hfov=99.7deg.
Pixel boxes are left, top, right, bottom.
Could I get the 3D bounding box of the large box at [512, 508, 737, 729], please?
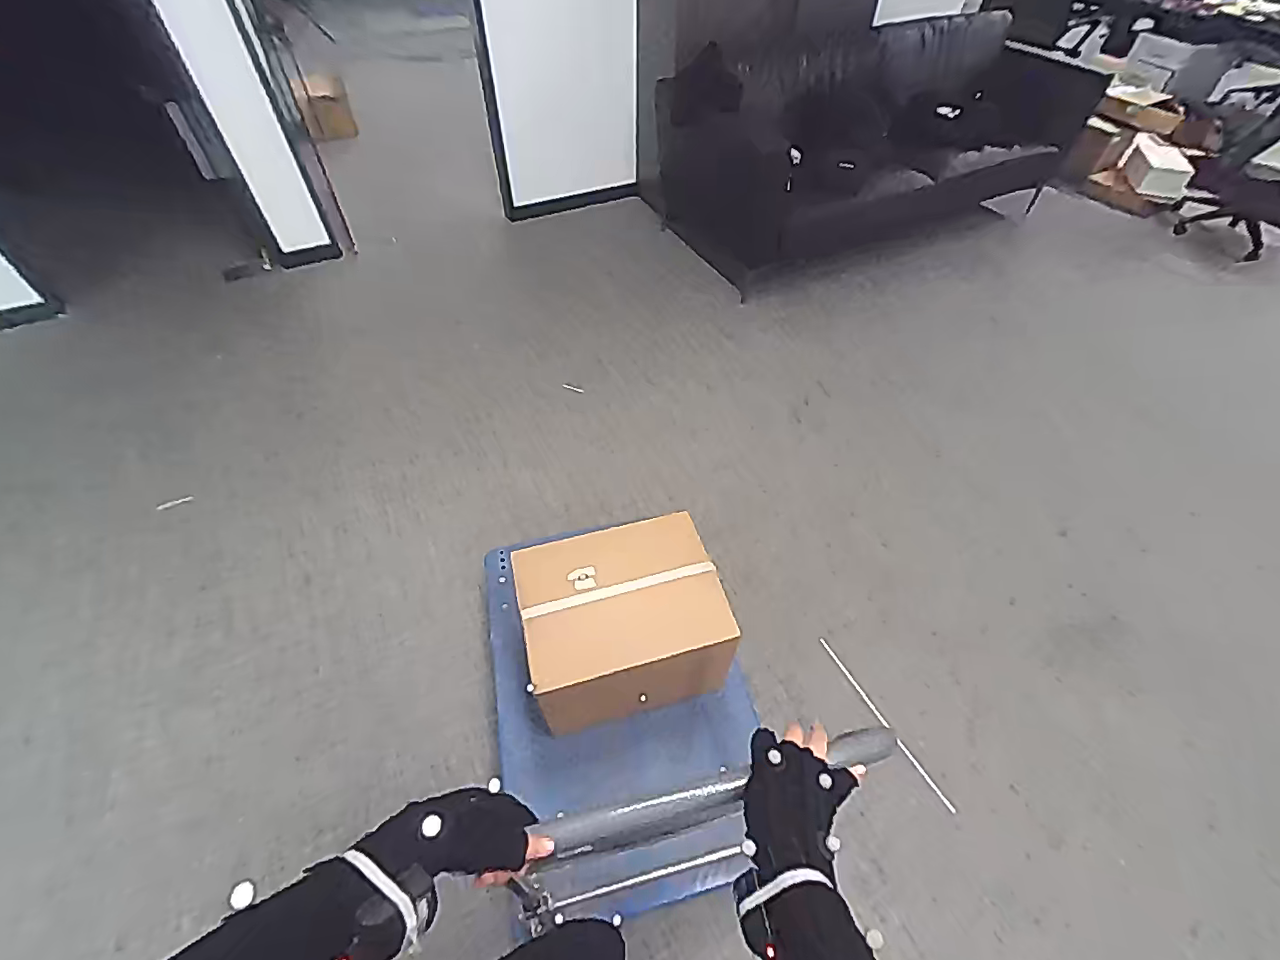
[{"bbox_3d":[-0.042,0.313,1.217,0.408,0.320,0.320,-13,52,-11],"label":"large box"}]
